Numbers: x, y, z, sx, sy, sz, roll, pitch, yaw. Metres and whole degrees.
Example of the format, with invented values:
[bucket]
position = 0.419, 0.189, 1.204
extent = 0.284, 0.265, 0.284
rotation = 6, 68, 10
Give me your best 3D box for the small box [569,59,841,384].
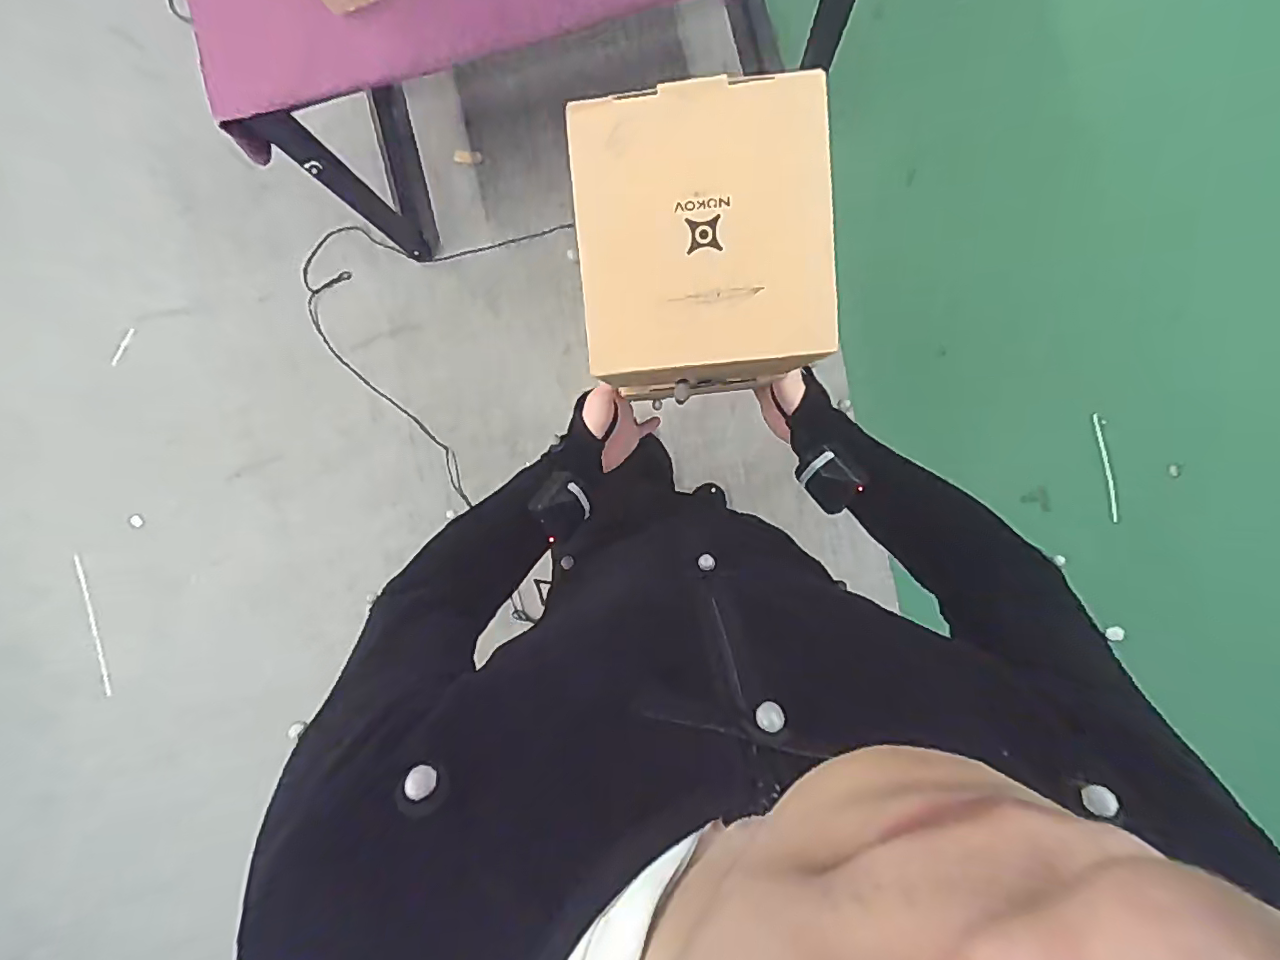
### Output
[small box]
position = 0.044, -0.172, 0.417
extent = 0.168, 0.176, 0.179
rotation = -4, 97, 4
